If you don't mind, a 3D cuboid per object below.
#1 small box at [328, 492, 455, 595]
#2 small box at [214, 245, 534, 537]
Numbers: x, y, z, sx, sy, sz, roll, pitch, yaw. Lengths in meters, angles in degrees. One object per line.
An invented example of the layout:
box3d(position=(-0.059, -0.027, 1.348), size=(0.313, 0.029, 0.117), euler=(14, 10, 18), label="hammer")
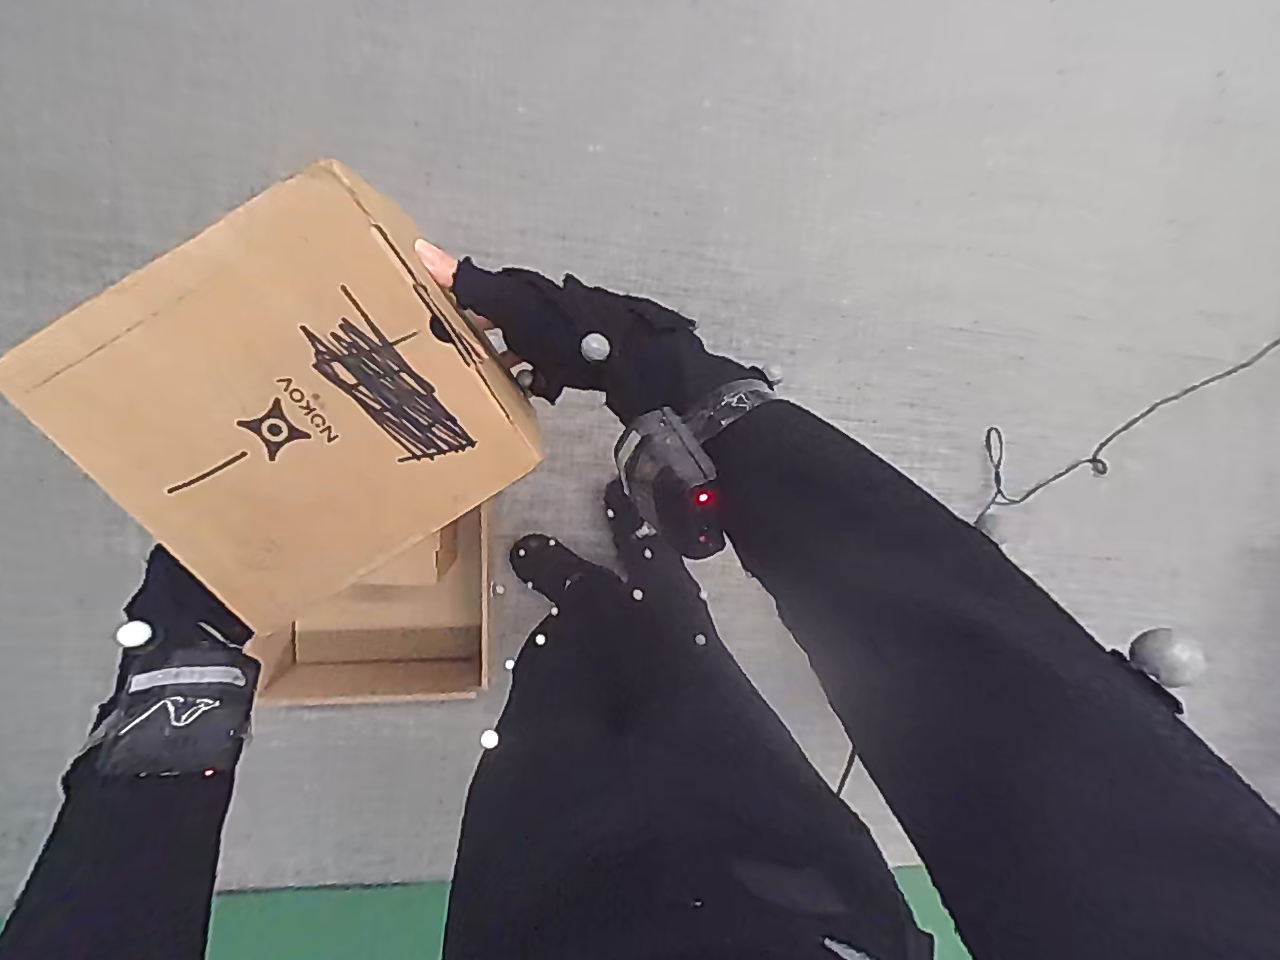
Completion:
box3d(position=(-0.442, 0.105, 0.985), size=(0.179, 0.176, 0.168), euler=(2, 95, -7), label="small box")
box3d(position=(-0.211, -0.085, 0.491), size=(0.168, 0.176, 0.179), euler=(-32, 110, -2), label="small box")
